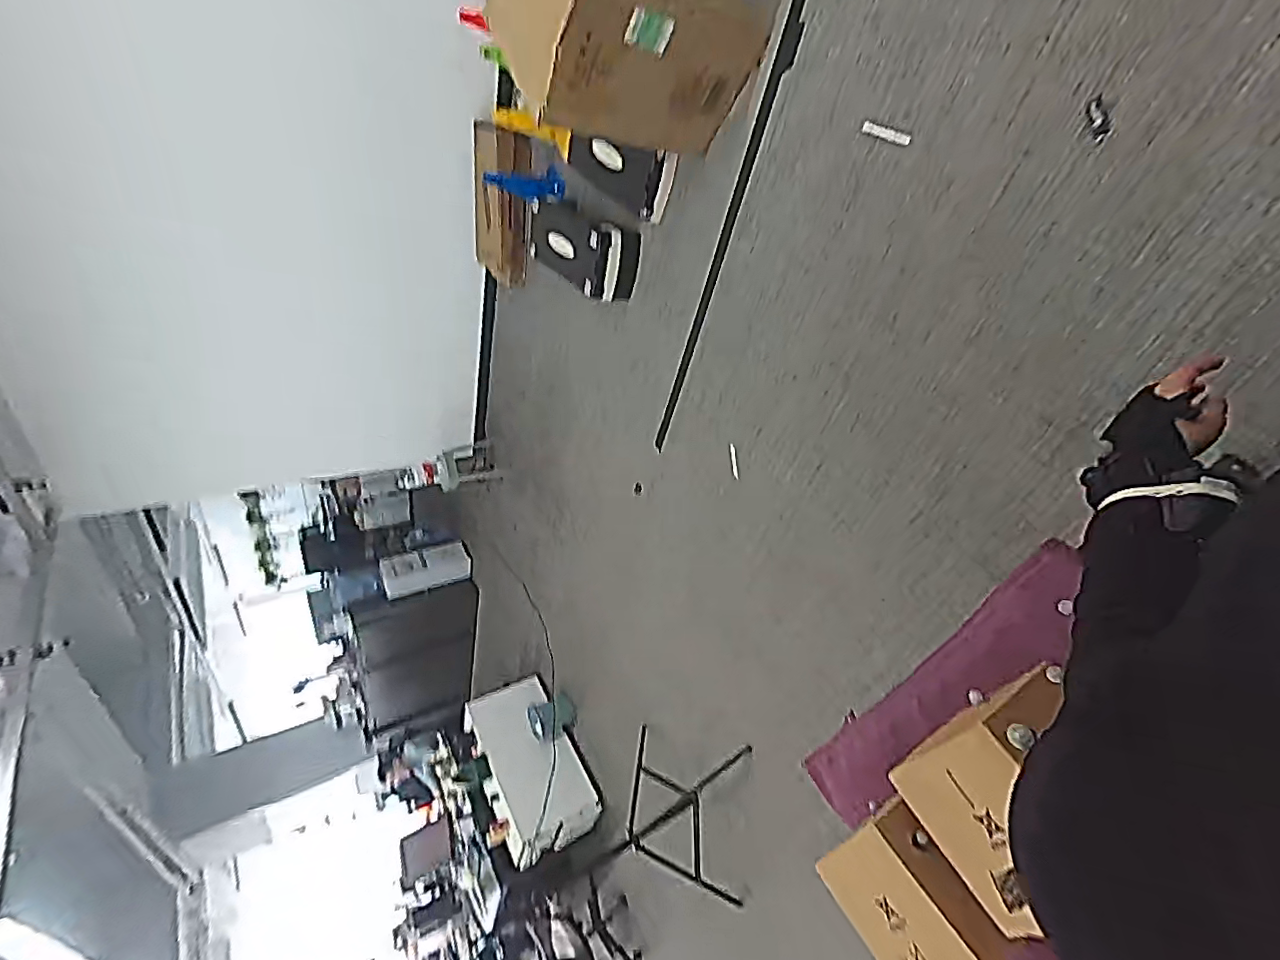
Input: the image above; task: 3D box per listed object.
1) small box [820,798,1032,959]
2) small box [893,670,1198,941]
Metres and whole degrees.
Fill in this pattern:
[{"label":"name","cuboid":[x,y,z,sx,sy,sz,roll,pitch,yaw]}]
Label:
[{"label":"small box","cuboid":[0.386,0.534,0.716,0.179,0.176,0.168,50,137,36]},{"label":"small box","cuboid":[0.430,0.342,0.586,0.179,0.176,0.168,55,142,31]}]
